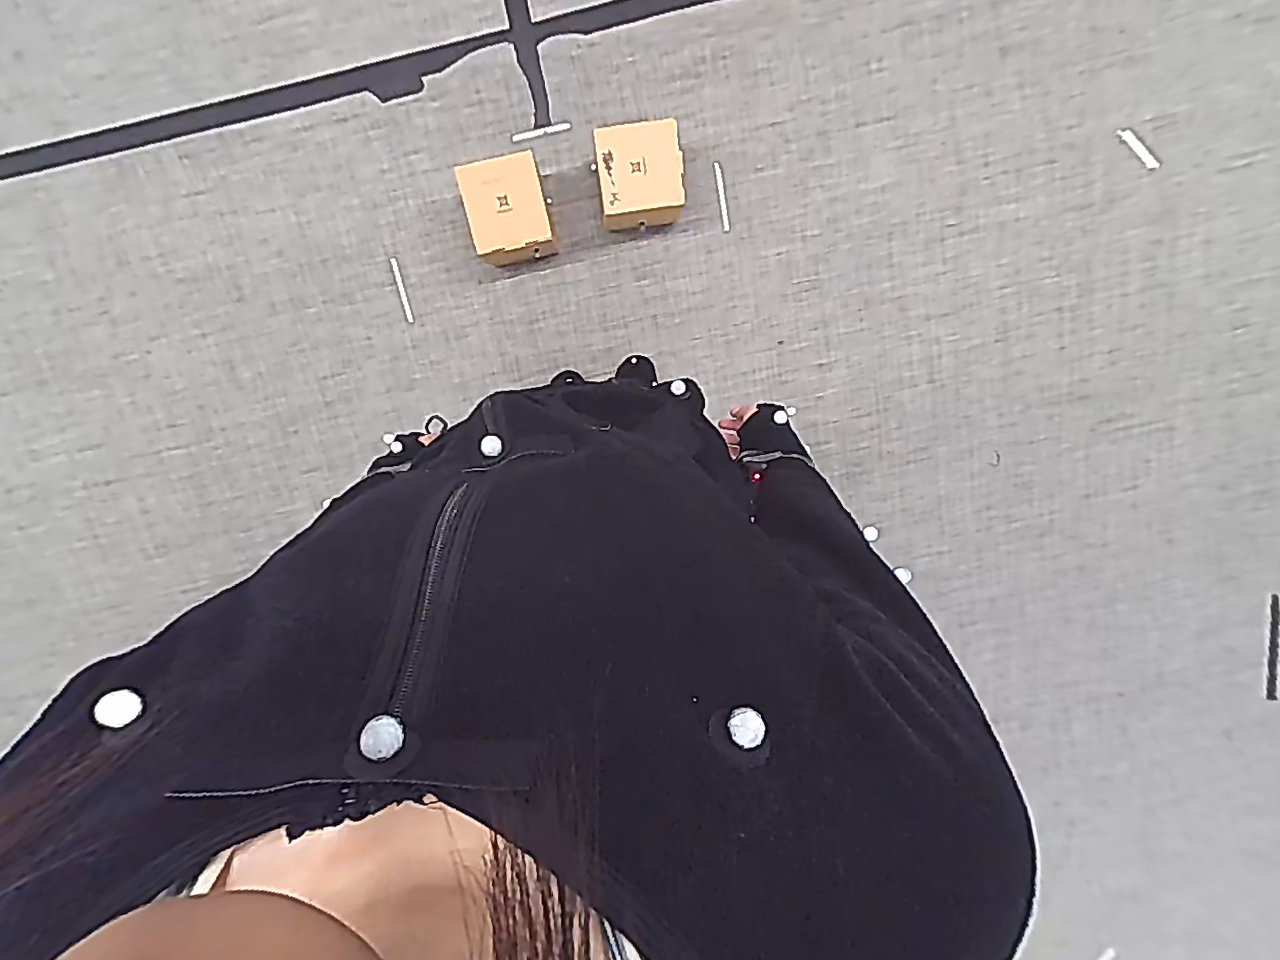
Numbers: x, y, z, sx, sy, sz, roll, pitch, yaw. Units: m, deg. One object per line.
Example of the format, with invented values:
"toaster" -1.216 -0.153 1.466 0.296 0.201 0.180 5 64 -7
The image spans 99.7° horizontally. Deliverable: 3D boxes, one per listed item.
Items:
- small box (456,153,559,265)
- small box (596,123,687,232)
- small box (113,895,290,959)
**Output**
"small box" -0.284 -0.588 1.200 0.168 0.176 0.179 -13 103 -1
"small box" -0.001 -0.661 1.197 0.179 0.176 0.168 -8 104 -2
"small box" -0.632 0.722 0.743 0.179 0.176 0.168 -12 105 0
